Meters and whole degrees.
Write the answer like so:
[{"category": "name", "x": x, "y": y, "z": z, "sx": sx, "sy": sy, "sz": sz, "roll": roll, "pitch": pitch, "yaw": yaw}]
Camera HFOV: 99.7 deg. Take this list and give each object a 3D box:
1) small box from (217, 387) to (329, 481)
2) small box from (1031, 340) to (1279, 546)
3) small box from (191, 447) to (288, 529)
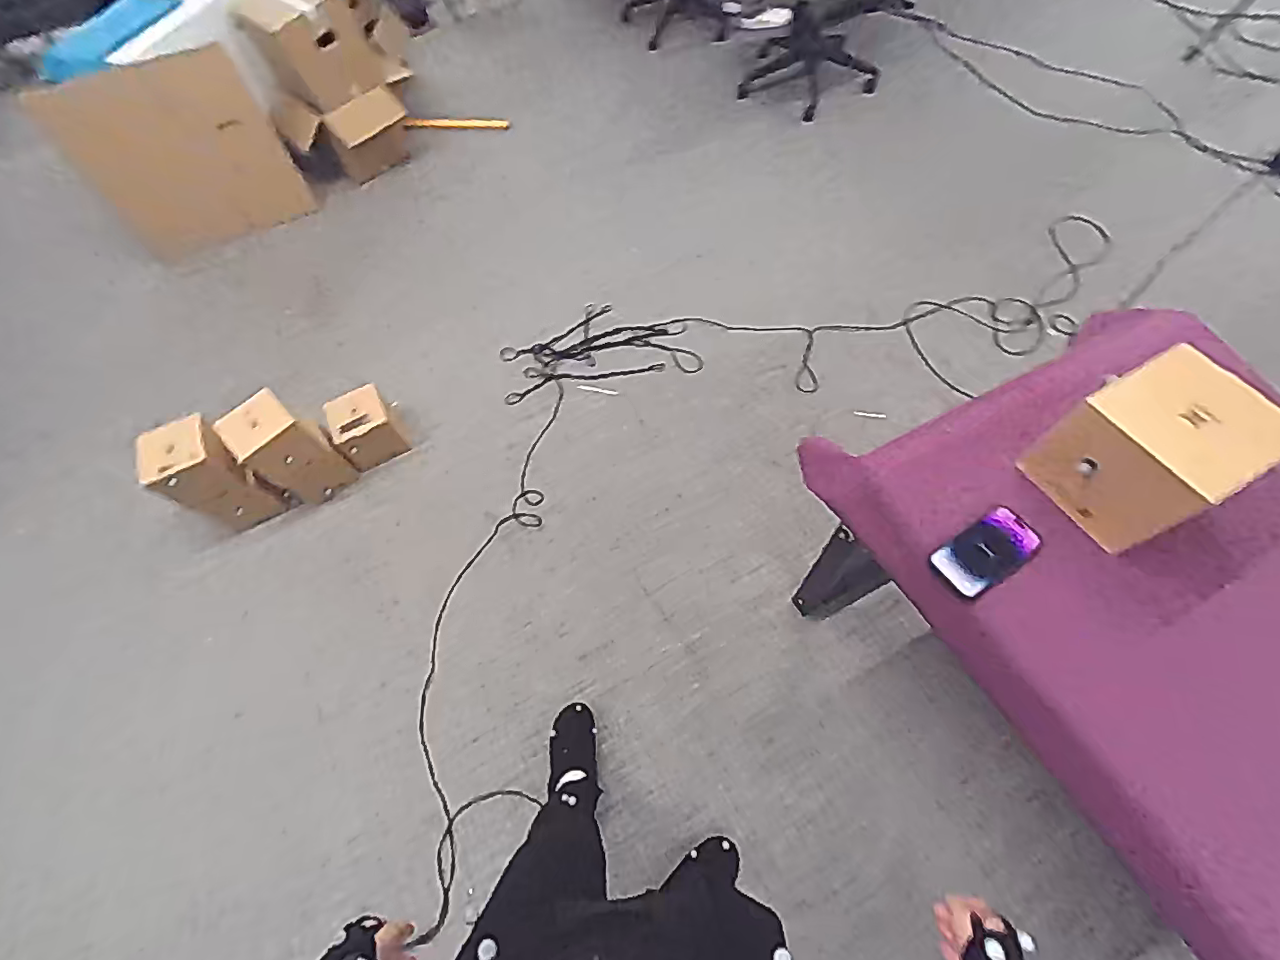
[{"category": "small box", "x": -1.022, "y": -0.121, "z": 1.521, "sx": 0.179, "sy": 0.176, "sz": 0.168, "roll": 40, "pitch": 72, "yaw": 23}, {"category": "small box", "x": 0.659, "y": -0.040, "z": 0.701, "sx": 0.179, "sy": 0.176, "sz": 0.168, "roll": -27, "pitch": 63, "yaw": -11}, {"category": "small box", "x": -1.209, "y": 0.022, "z": 1.645, "sx": 0.179, "sy": 0.176, "sz": 0.168, "roll": -27, "pitch": 62, "yaw": -9}]
